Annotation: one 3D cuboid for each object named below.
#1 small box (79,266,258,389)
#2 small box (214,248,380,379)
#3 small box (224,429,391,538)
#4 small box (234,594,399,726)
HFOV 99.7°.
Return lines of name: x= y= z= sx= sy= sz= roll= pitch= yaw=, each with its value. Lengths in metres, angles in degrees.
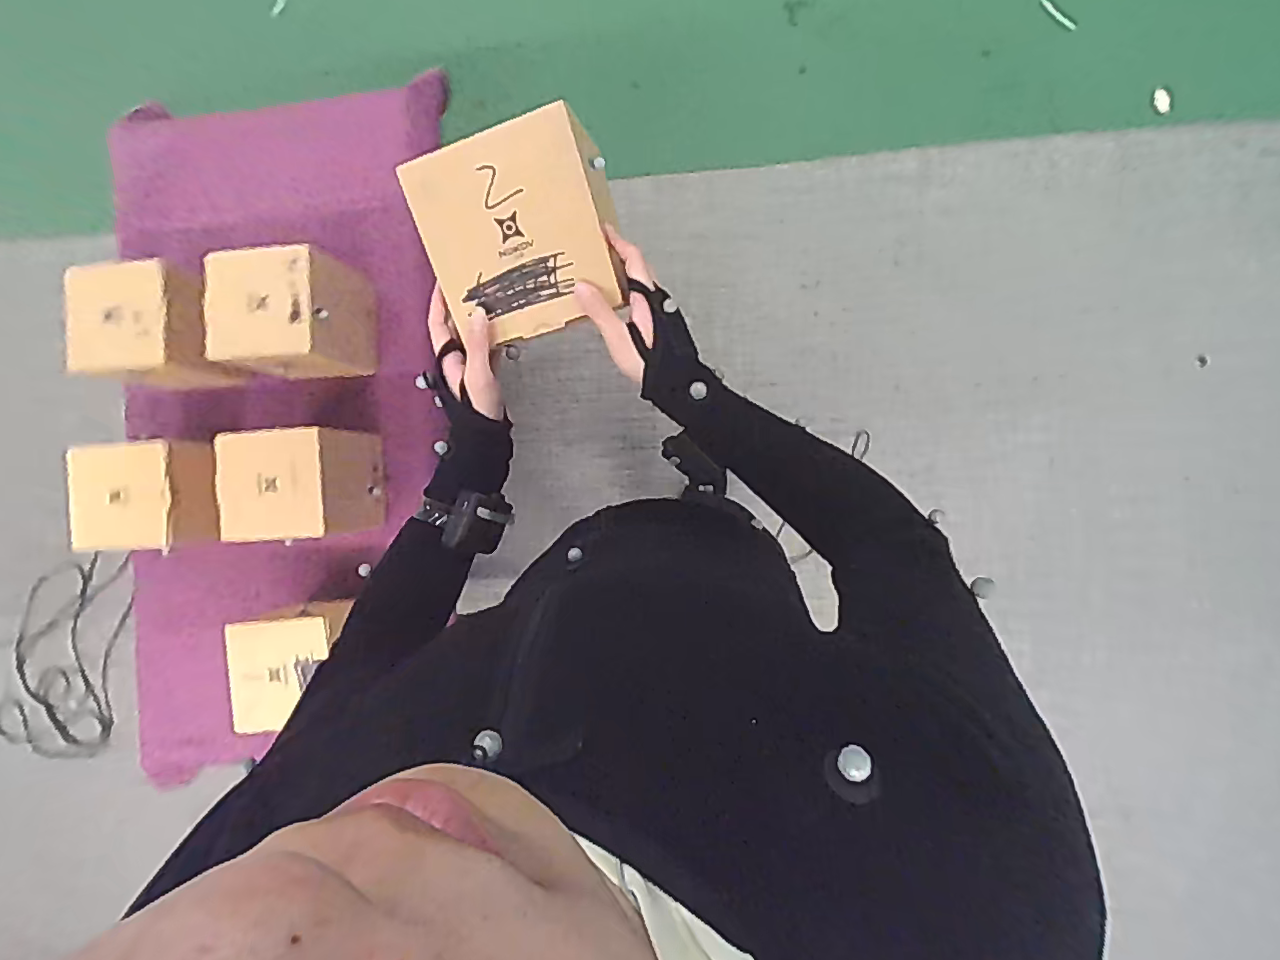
small box: x=-0.815 y=-0.256 z=0.947 sx=0.179 sy=0.176 sz=0.168 roll=-2 pitch=90 yaw=7
small box: x=-0.570 y=-0.269 z=0.913 sx=0.179 sy=0.176 sz=0.168 roll=-2 pitch=90 yaw=9
small box: x=-0.552 y=0.007 z=0.913 sx=0.179 sy=0.176 sz=0.168 roll=-3 pitch=91 yaw=7
small box: x=-0.527 y=0.292 z=0.907 sx=0.179 sy=0.176 sz=0.168 roll=-7 pitch=89 yaw=10
